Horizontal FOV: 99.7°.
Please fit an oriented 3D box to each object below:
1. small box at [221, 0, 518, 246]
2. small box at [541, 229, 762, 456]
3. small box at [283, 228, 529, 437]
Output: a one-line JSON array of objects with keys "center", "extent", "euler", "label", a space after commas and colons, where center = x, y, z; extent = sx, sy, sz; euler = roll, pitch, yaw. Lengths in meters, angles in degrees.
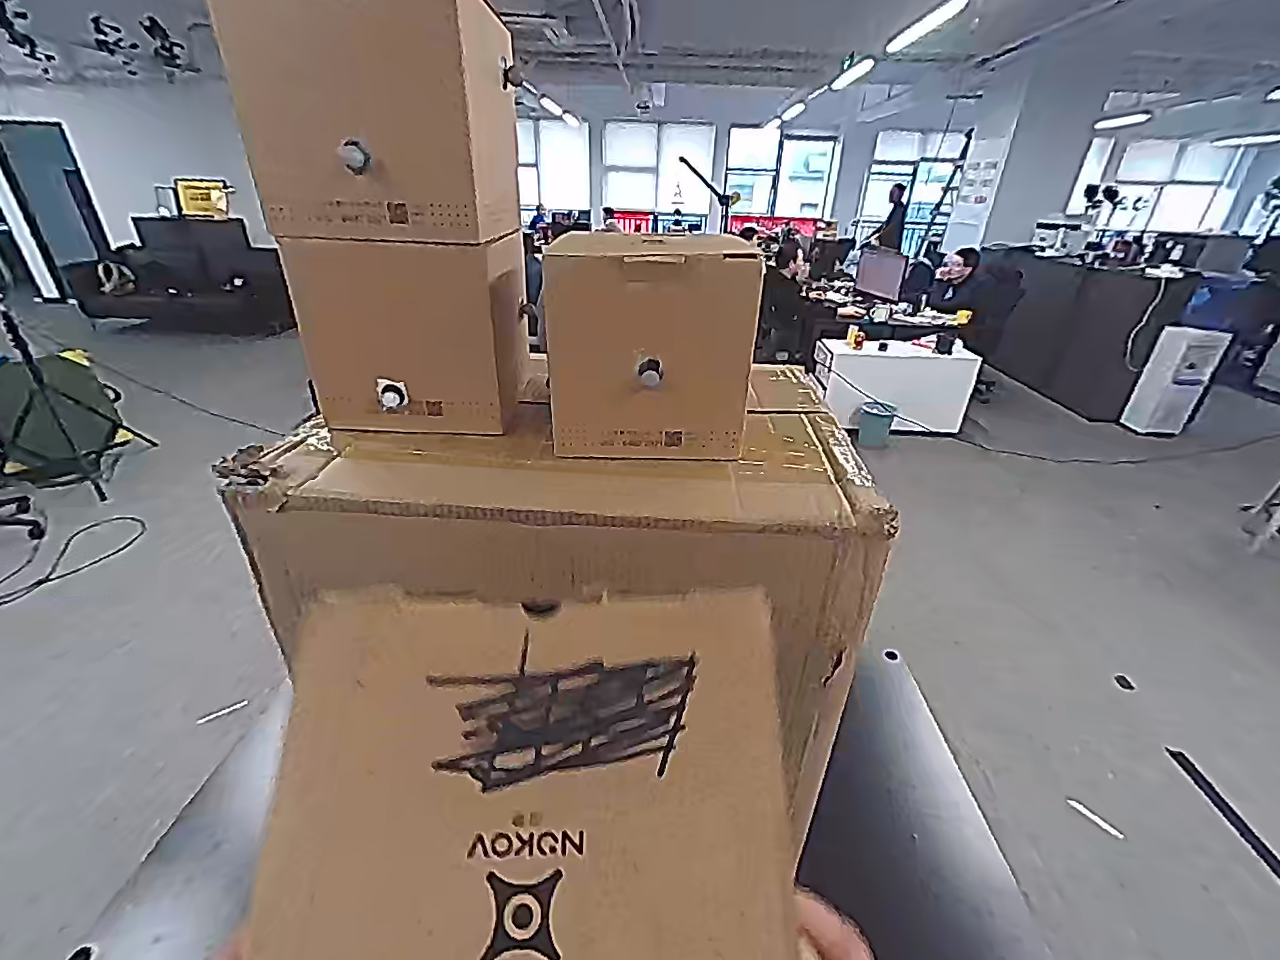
[{"center": [-0.201, -0.298, 0.453], "extent": [0.168, 0.176, 0.179], "euler": [1, 29, -1], "label": "small box"}, {"center": [0.009, -0.132, 0.503], "extent": [0.168, 0.176, 0.179], "euler": [2, 30, -1], "label": "small box"}, {"center": [-0.205, -0.154, 0.534], "extent": [0.168, 0.176, 0.179], "euler": [0, 30, -3], "label": "small box"}]
